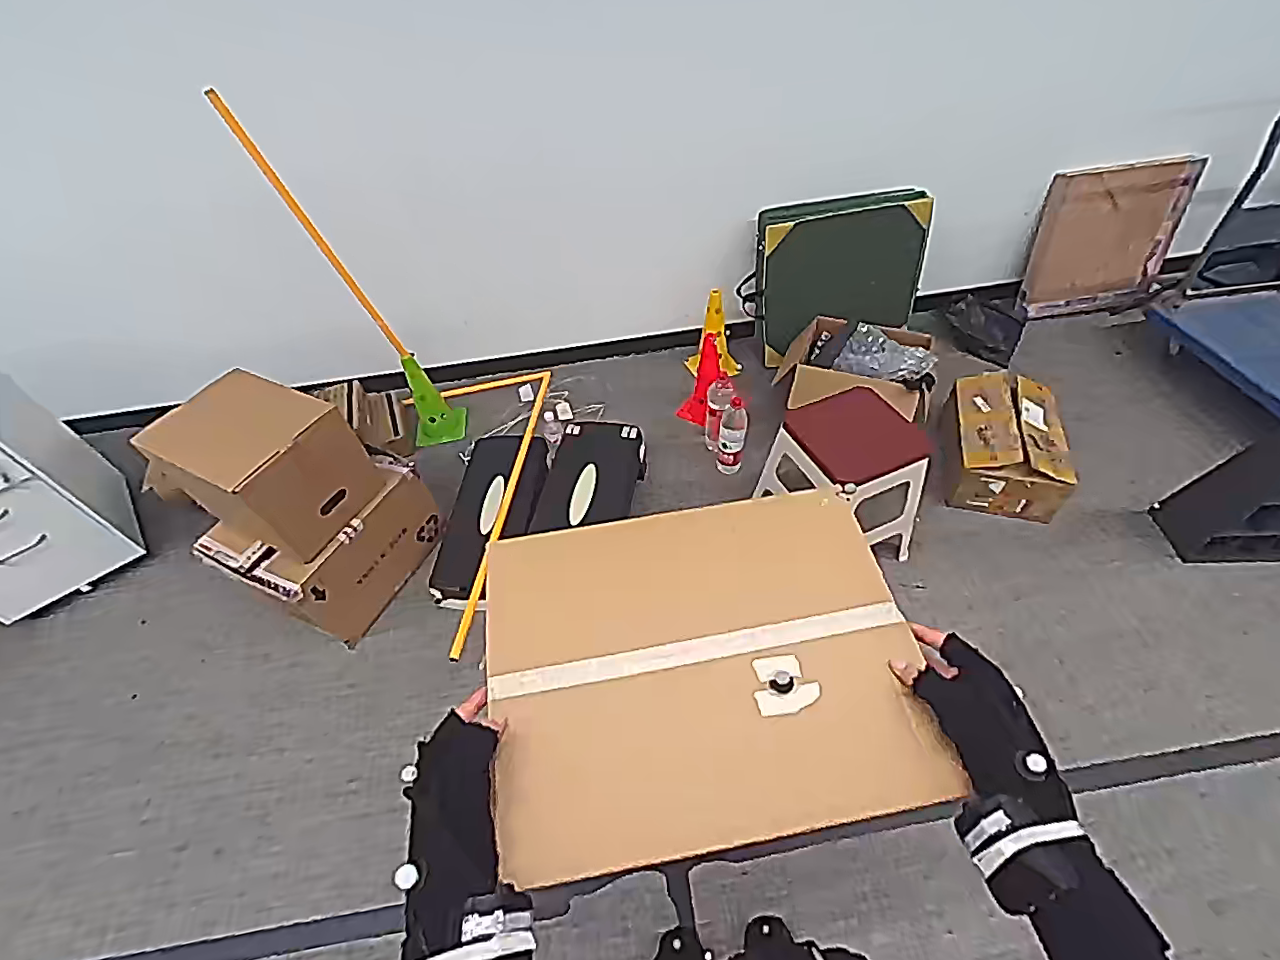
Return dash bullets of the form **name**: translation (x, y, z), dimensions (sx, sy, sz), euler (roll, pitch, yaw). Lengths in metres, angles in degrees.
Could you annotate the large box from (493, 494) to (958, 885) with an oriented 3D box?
- **large box**: translation (0.060, 0.257, 0.656), dimensions (0.408, 0.320, 0.320), euler (-9, 55, -4)
